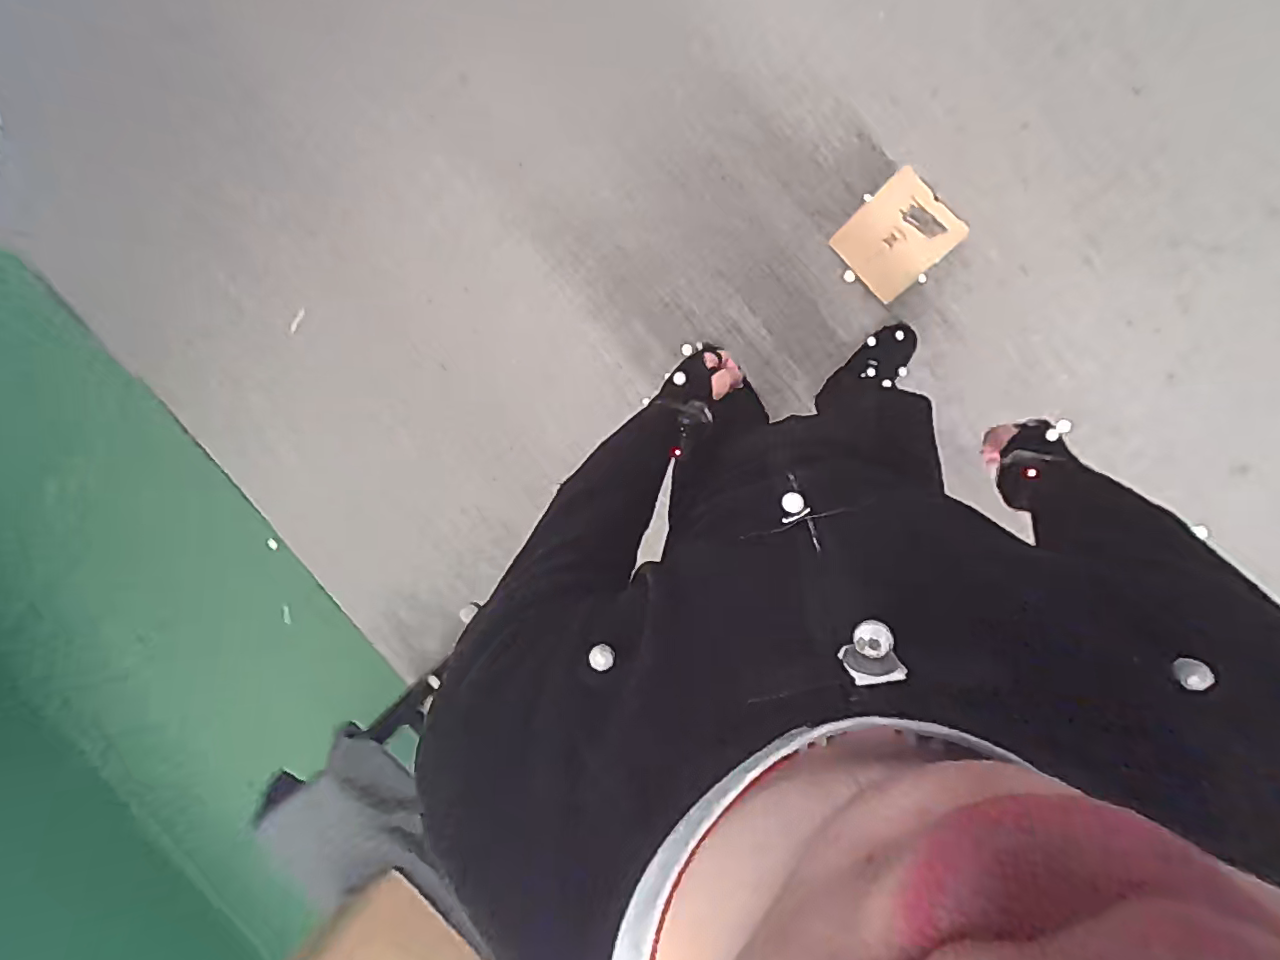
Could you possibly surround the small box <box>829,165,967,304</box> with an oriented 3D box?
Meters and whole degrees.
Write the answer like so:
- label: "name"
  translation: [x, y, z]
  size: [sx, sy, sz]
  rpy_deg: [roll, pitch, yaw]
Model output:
- label: "small box"
  translation: [0.491, -0.468, 1.054]
  size: [0.168, 0.176, 0.179]
  rpy_deg: [48, 118, 1]
